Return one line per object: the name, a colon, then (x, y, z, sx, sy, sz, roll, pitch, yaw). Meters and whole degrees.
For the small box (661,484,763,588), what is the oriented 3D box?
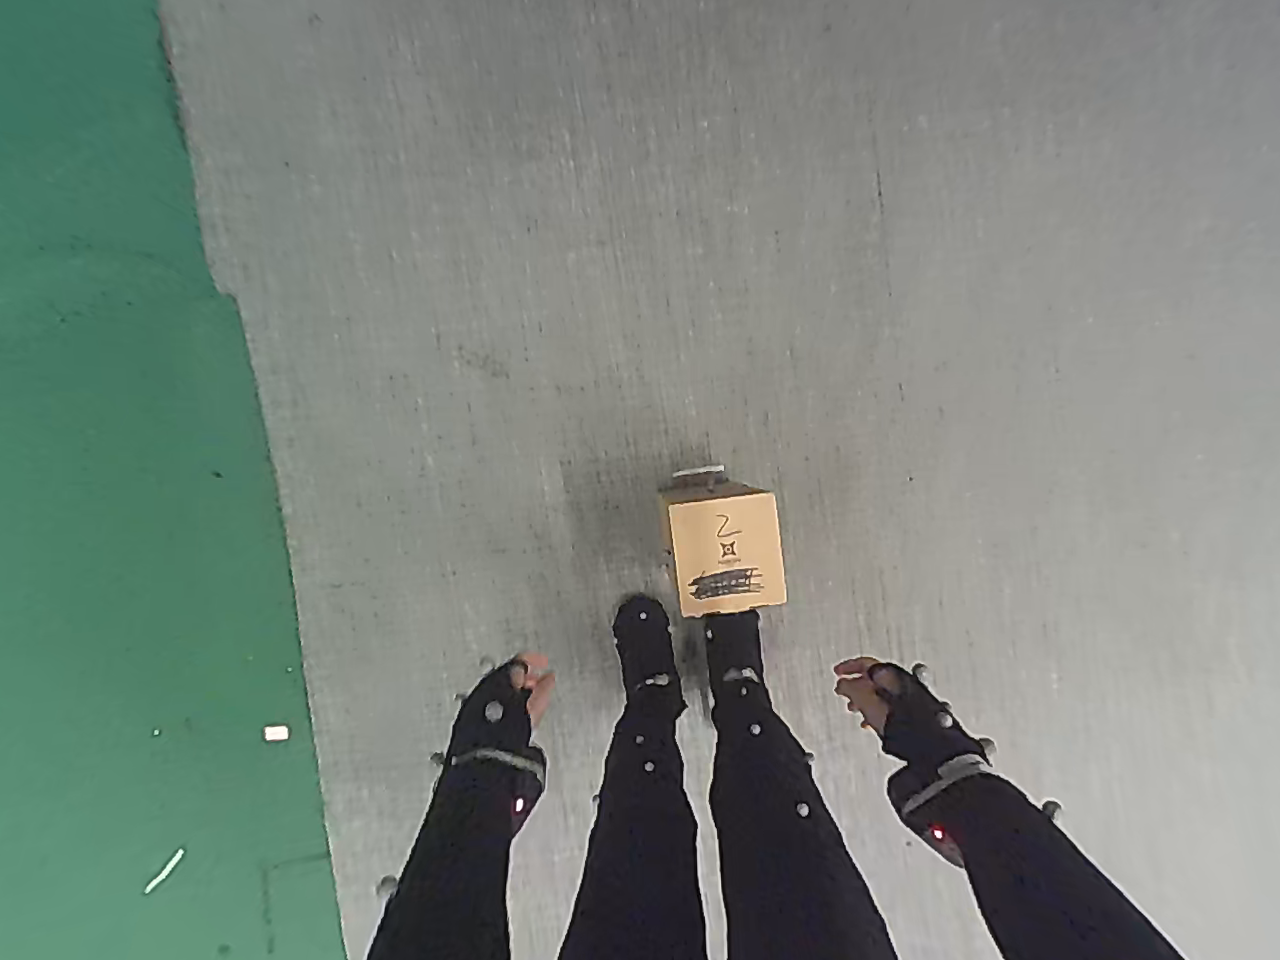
small box: (0.135, 0.102, 1.071, 0.168, 0.176, 0.179, -7, 93, -2)
